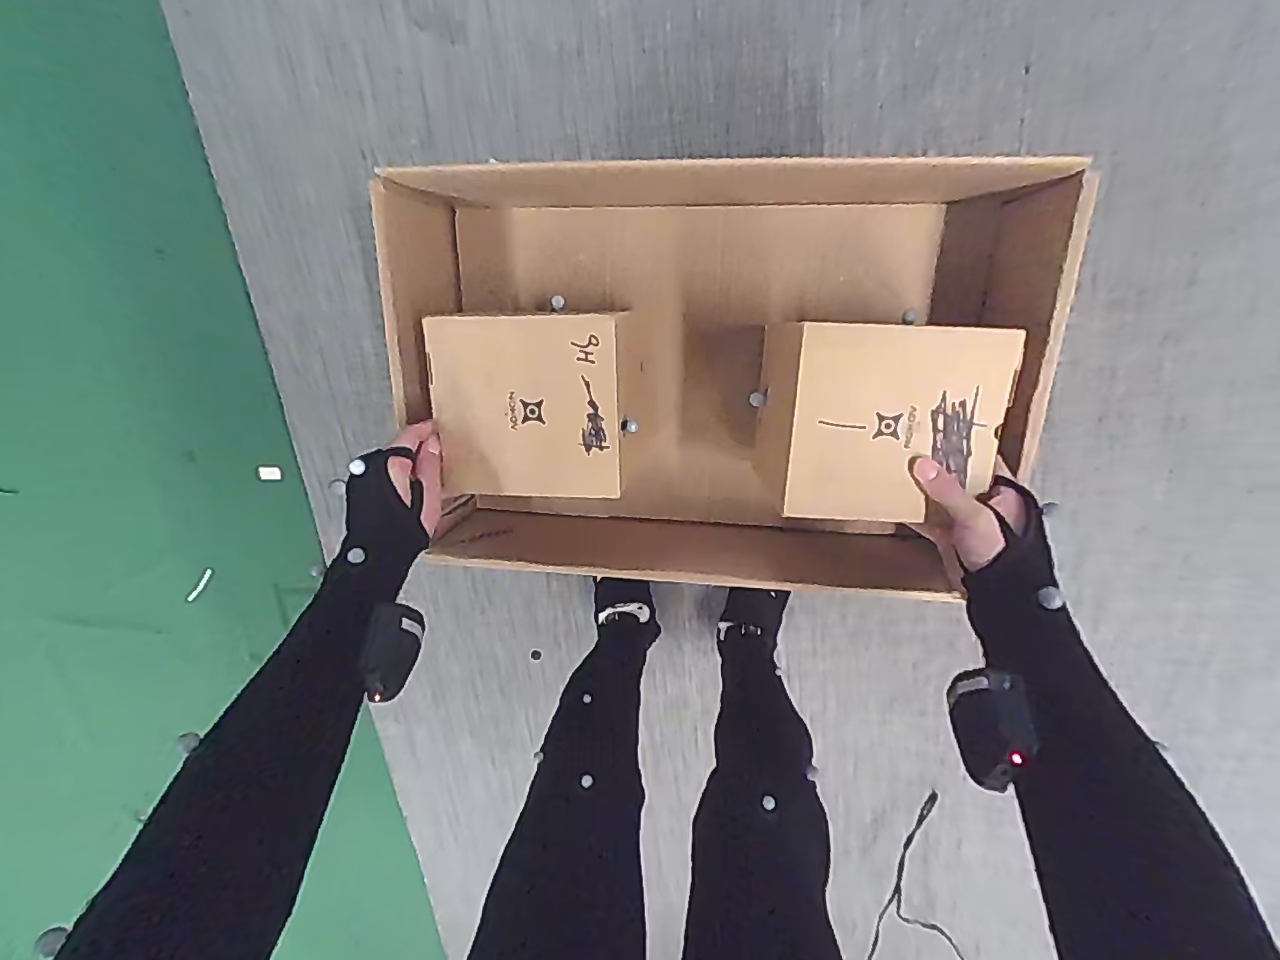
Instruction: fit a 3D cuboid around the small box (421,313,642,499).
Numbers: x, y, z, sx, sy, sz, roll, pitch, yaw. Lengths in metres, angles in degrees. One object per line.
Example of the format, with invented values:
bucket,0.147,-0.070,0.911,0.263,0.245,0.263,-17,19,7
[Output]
small box,-0.098,-0.087,0.568,0.179,0.176,0.168,2,108,9
